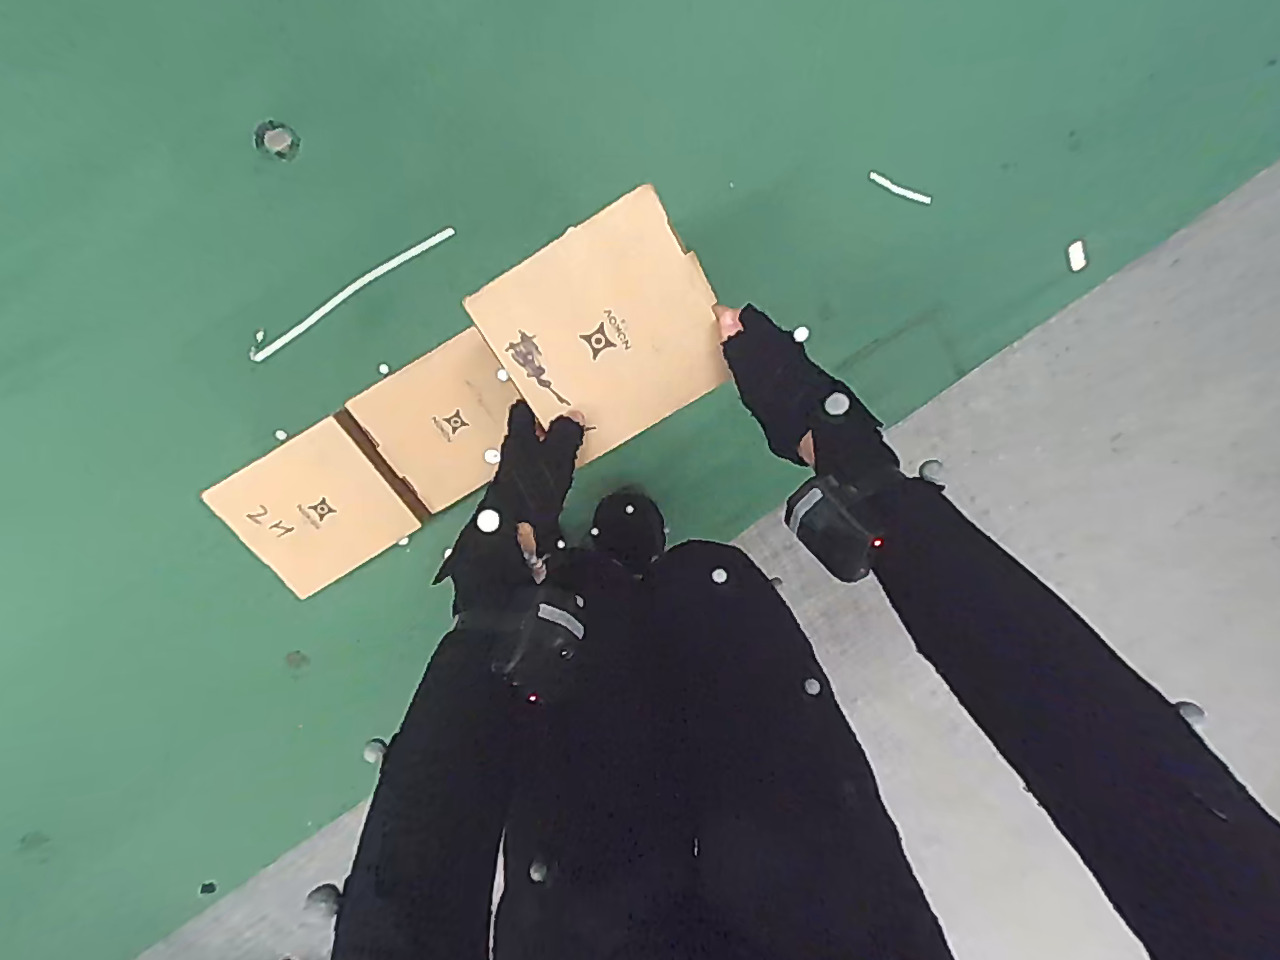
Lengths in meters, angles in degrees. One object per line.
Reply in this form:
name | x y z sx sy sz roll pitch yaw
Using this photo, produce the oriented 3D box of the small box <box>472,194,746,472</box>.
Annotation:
small box | -0.027 -0.136 0.517 0.179 0.176 0.168 -29 106 5
